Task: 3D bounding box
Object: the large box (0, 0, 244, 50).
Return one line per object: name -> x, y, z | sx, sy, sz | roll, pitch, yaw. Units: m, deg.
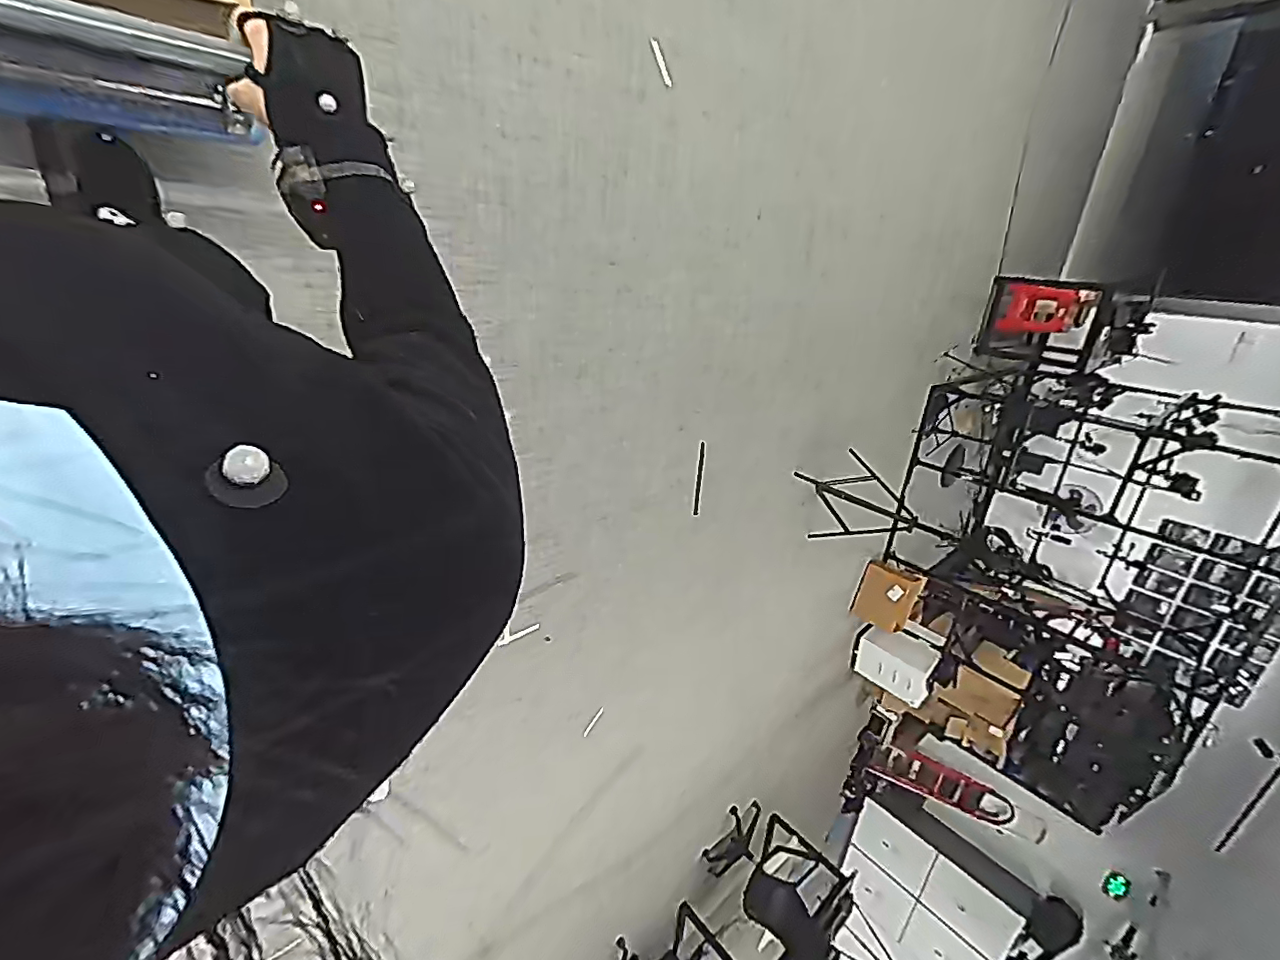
large box -> -0.763, -0.749, 0.620 | 0.408, 0.320, 0.320 | -21, 124, -39
